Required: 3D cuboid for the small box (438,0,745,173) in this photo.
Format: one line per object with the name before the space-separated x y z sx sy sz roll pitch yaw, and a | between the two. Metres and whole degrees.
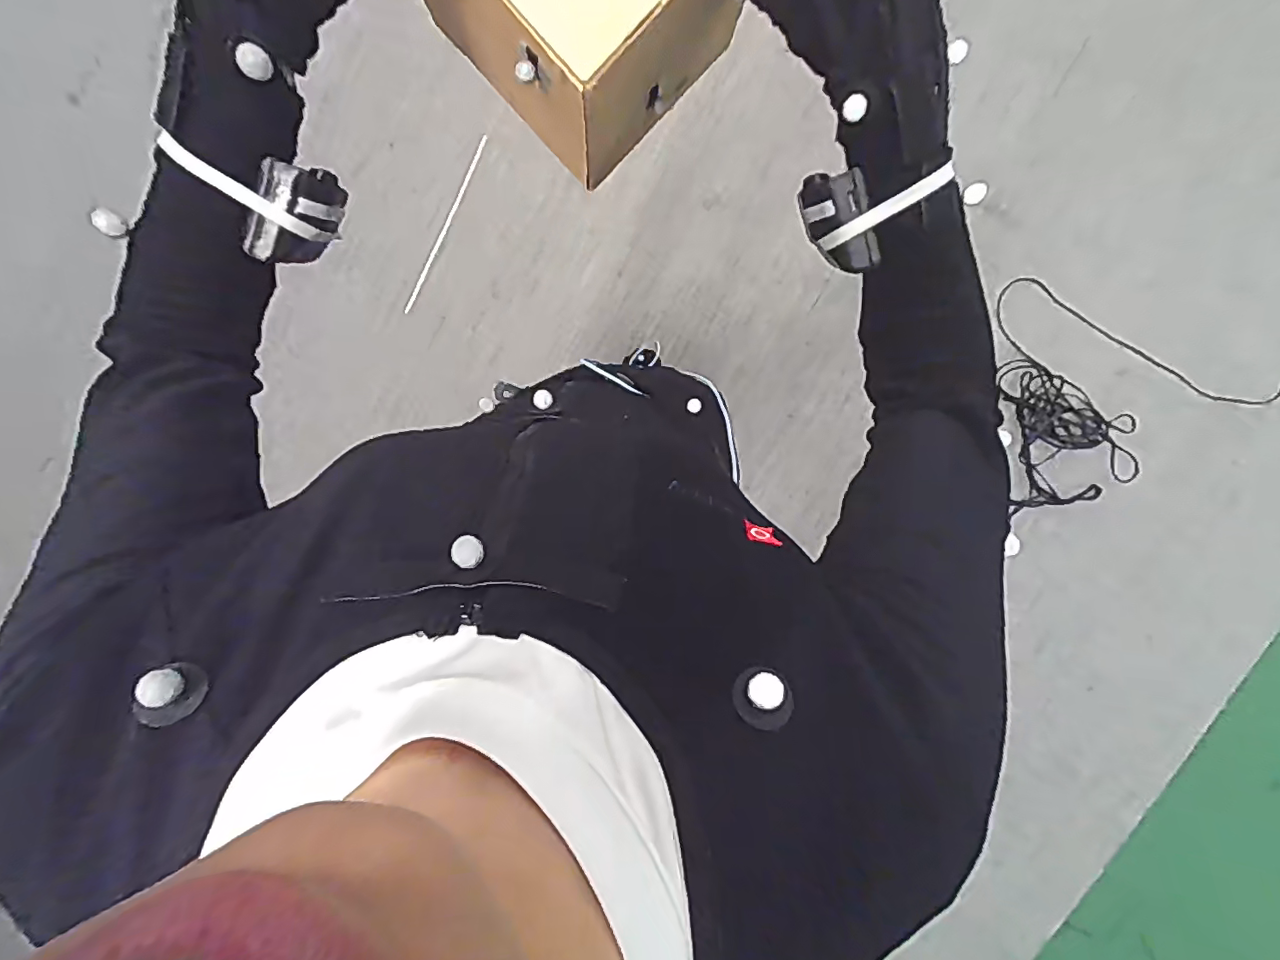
small box | -0.036 -0.351 0.359 0.168 0.176 0.179 -44 103 4
